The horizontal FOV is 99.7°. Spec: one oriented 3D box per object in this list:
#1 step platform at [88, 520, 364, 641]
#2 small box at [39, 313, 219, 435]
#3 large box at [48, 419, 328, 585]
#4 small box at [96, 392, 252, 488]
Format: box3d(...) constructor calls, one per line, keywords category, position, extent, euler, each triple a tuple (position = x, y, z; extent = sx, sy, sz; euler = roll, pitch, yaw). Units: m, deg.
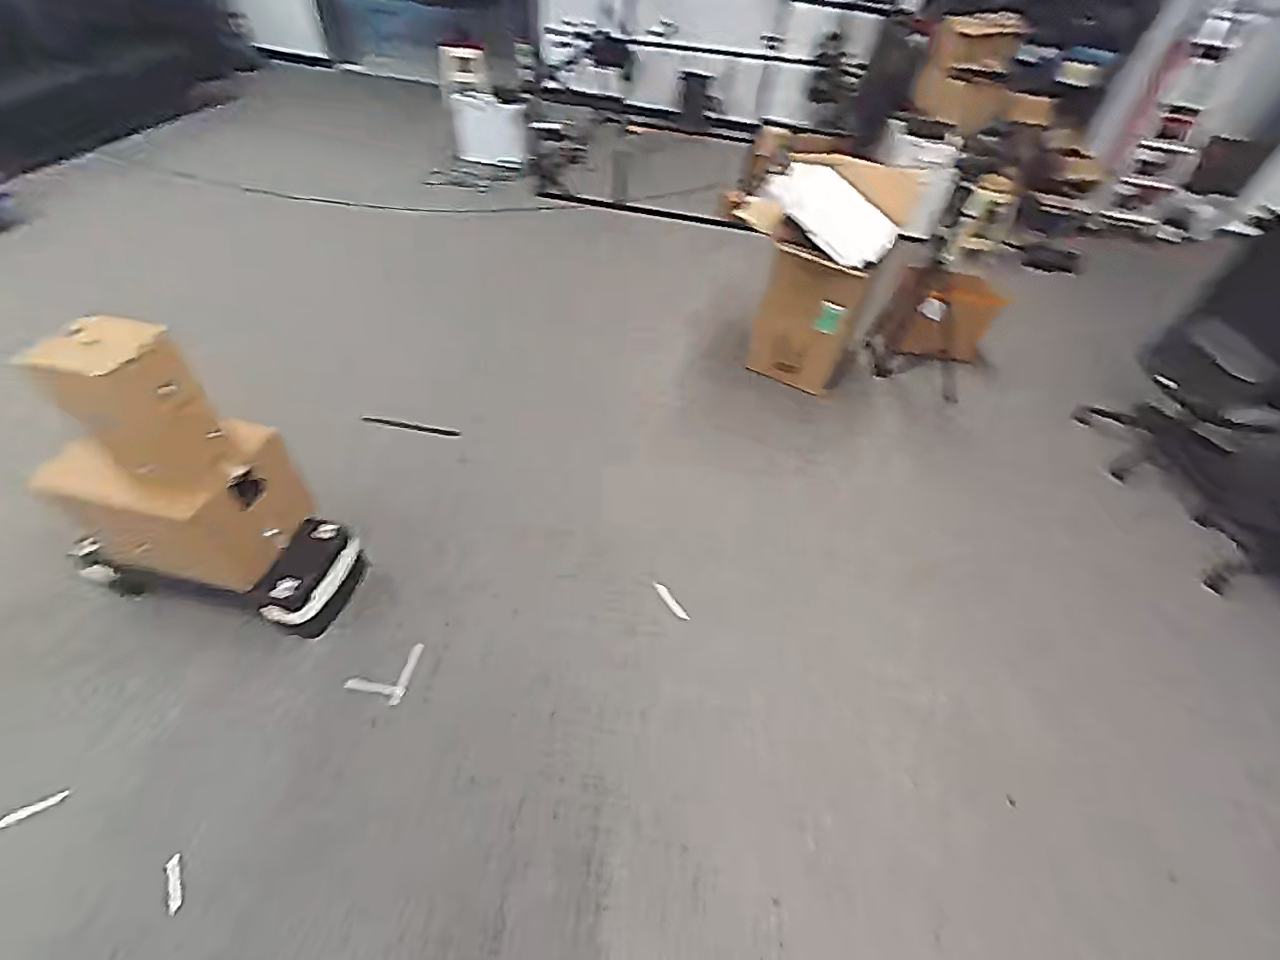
box3d(category="step platform", position=(-1.191, 0.213, 1.583), extent=(0.684, 0.204, 0.286), euler=(15, 47, 9))
box3d(category="small box", position=(-1.031, -0.215, 1.114), extent=(0.179, 0.176, 0.168), euler=(12, 47, 4))
box3d(category="large box", position=(-1.138, 0.039, 1.425), extent=(0.408, 0.320, 0.320), euler=(11, 46, 5))
box3d(category="small box", position=(-1.042, -0.102, 1.232), extent=(0.179, 0.176, 0.168), euler=(12, 47, 5))
